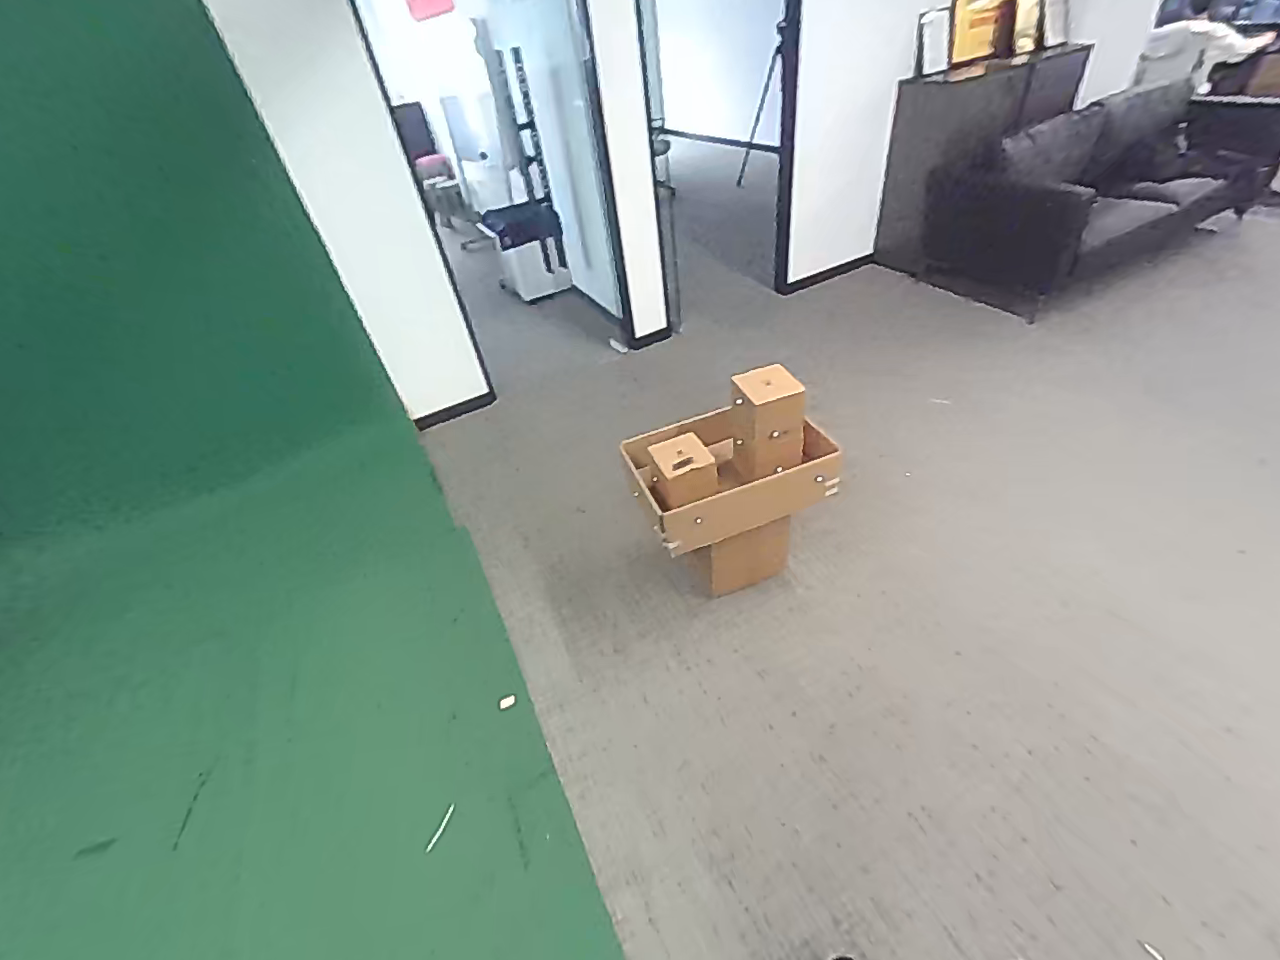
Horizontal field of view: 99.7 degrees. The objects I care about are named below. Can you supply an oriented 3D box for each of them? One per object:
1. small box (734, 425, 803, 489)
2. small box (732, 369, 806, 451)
[{"bbox_3d":[0.418,-0.098,1.790,0.168,0.176,0.179,-16,42,-8],"label":"small box"},{"bbox_3d":[0.394,-0.218,1.682,0.168,0.176,0.179,-16,41,-8],"label":"small box"}]
